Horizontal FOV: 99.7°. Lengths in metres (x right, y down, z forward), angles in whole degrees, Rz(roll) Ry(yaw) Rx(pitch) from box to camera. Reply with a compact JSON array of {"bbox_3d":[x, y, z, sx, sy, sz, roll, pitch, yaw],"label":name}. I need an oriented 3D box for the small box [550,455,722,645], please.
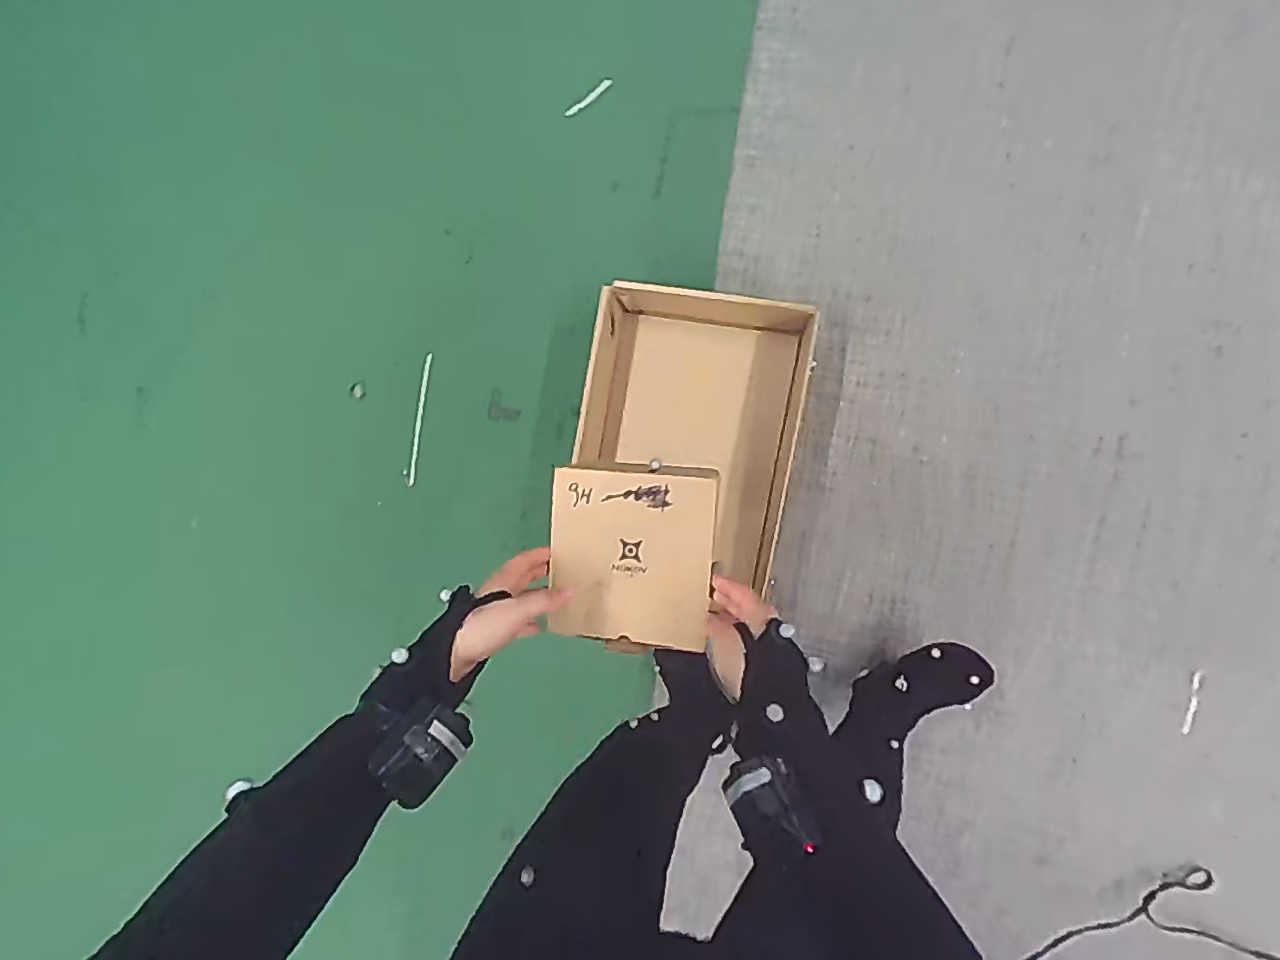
[{"bbox_3d":[0.005,0.067,0.625,0.168,0.176,0.179,5,95,8],"label":"small box"}]
